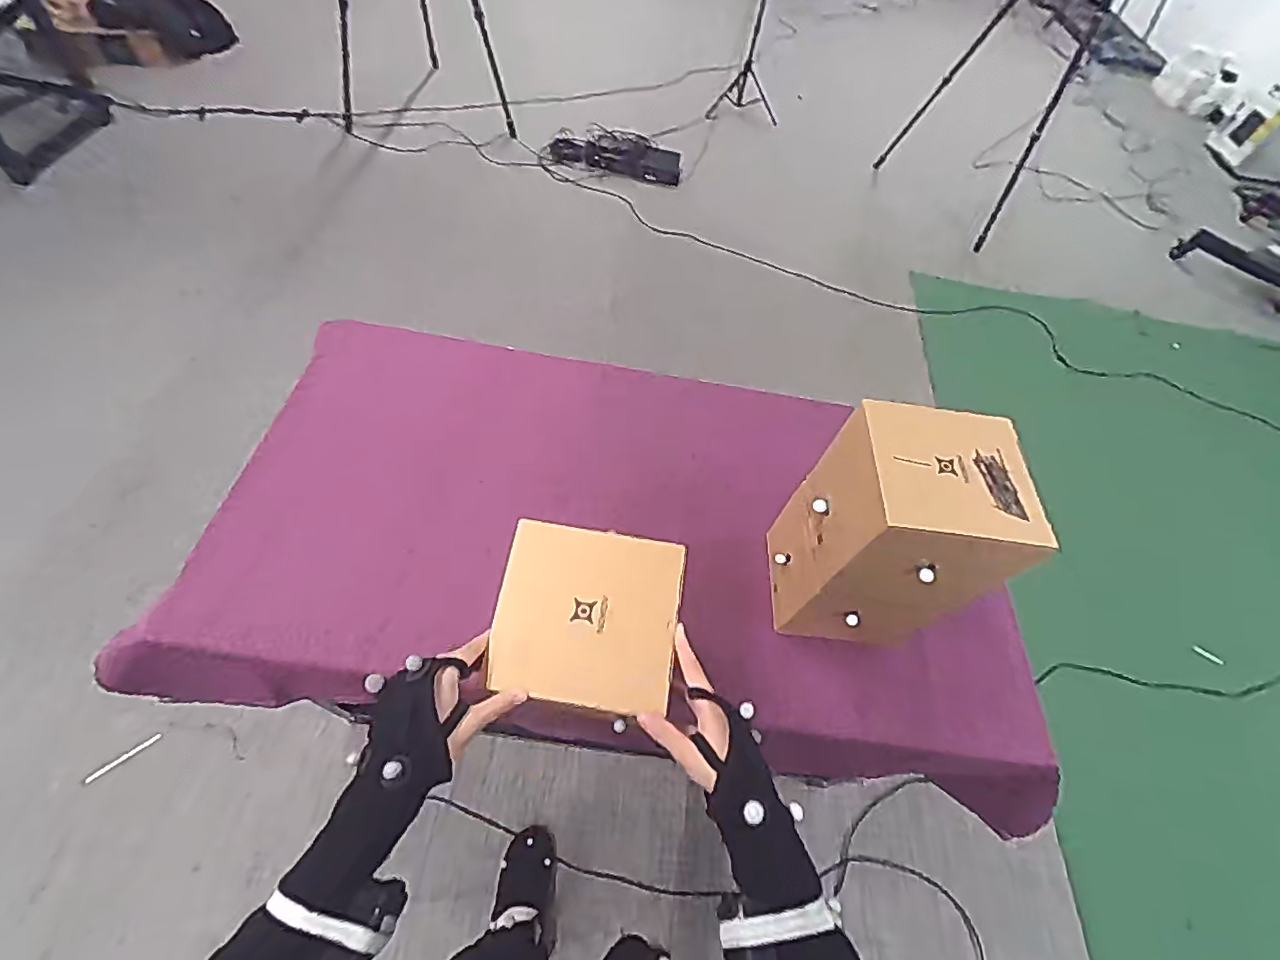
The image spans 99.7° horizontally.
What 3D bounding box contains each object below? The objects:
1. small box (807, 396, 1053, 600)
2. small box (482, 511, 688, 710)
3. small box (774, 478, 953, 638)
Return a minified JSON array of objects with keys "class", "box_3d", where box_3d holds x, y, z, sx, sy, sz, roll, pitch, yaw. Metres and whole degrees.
[{"class":"small box","box_3d":[0.316,0.029,0.631,0.179,0.176,0.168,7,55,-3]},{"class":"small box","box_3d":[-0.053,0.152,0.597,0.179,0.176,0.168,10,64,-1]},{"class":"small box","box_3d":[0.297,0.117,0.770,0.179,0.176,0.168,6,56,-3]}]
